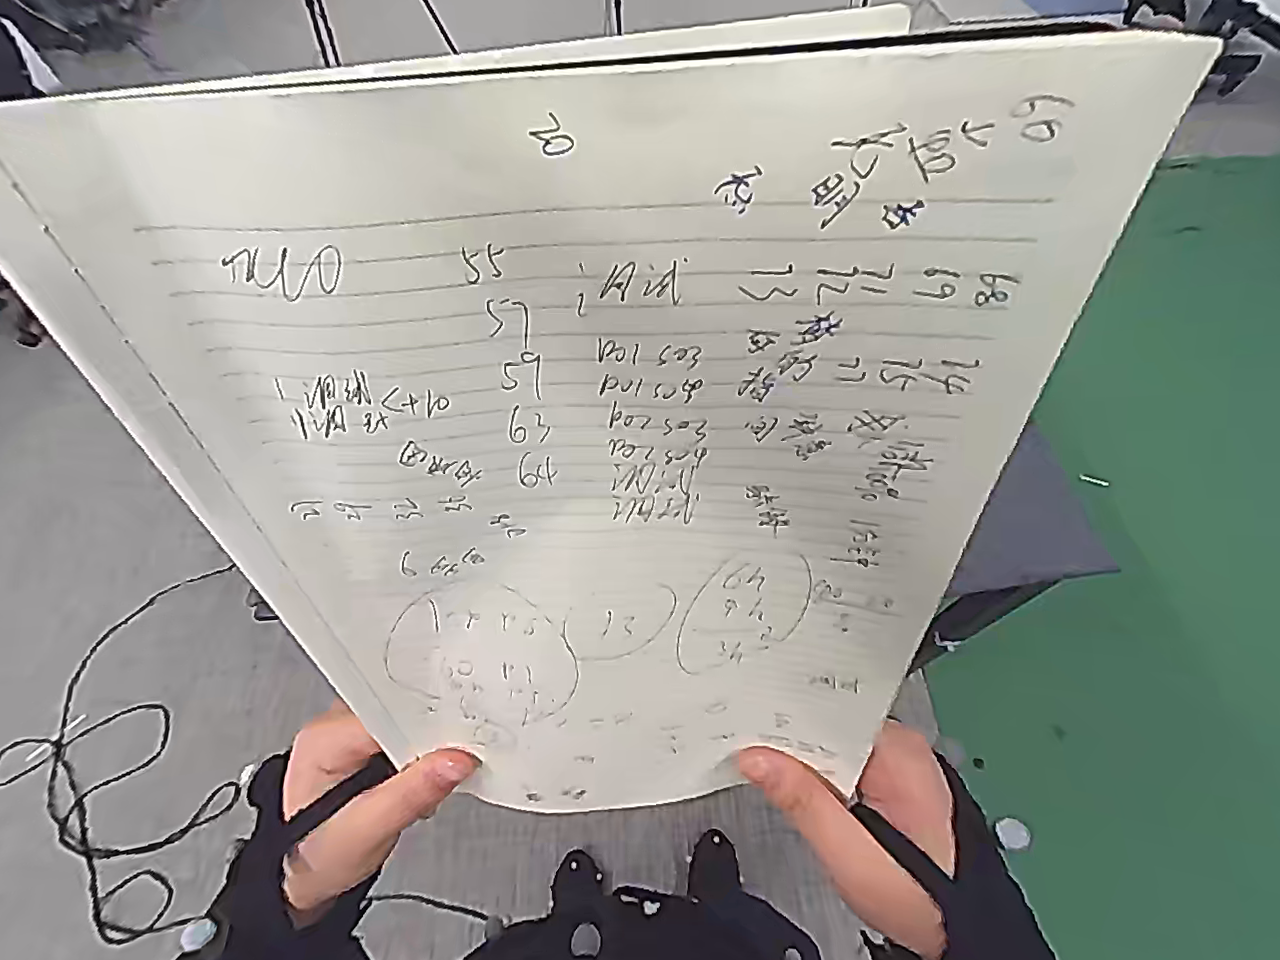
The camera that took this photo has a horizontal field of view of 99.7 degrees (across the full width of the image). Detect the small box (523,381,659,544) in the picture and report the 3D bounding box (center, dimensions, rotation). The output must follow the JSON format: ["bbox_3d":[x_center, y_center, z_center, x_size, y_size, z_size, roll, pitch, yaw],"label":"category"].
[{"bbox_3d":[-0.059,-0.023,0.783,0.168,0.176,0.179,-1,57,4],"label":"small box"}]
